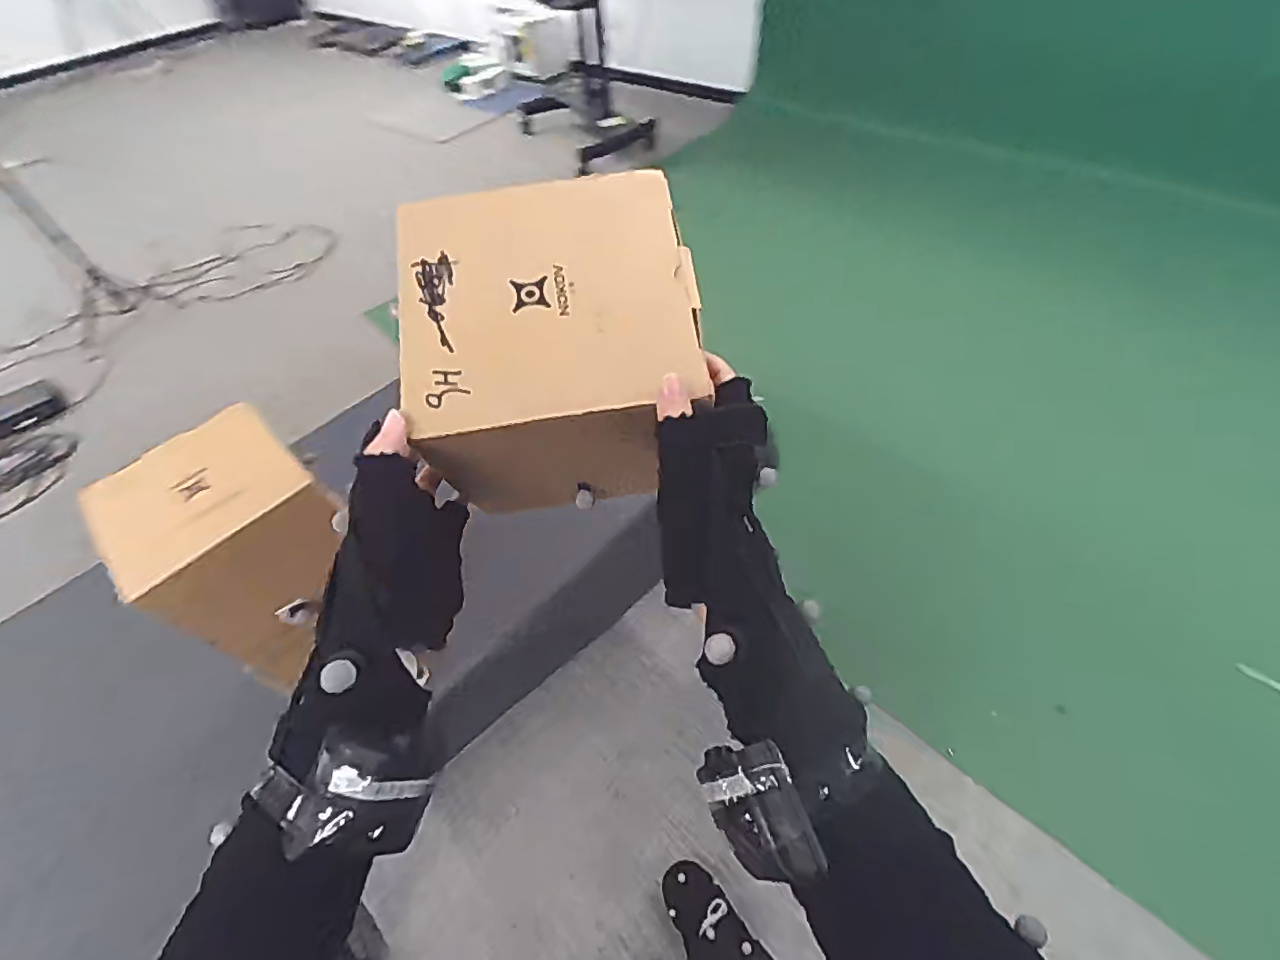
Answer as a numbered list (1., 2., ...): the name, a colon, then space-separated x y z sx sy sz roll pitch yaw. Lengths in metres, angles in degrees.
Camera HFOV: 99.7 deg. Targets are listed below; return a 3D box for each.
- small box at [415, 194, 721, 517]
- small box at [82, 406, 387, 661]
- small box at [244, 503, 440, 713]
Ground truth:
1. small box: -0.051 -0.078 0.405 0.179 0.176 0.168 -7 71 -3
2. small box: -0.413 0.060 0.575 0.179 0.176 0.168 34 63 27
3. small box: -0.401 0.171 0.714 0.168 0.176 0.179 35 62 28
